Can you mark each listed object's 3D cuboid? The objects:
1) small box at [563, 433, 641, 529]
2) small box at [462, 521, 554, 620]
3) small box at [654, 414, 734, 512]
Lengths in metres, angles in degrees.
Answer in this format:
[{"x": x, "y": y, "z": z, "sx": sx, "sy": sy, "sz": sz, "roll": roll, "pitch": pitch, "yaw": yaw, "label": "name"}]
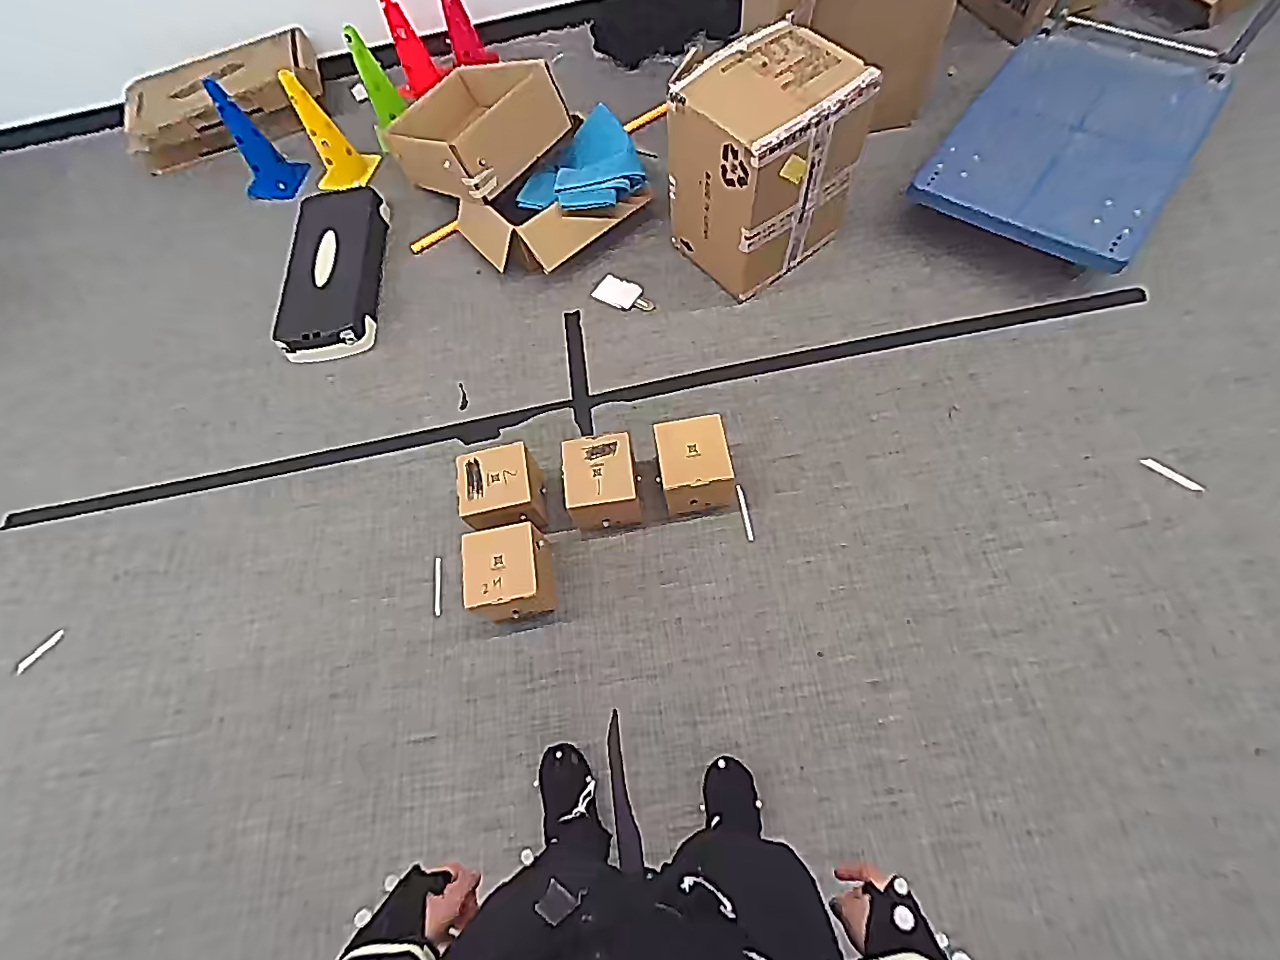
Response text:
[{"x": -0.093, "y": 0.006, "z": 1.345, "sx": 0.168, "sy": 0.176, "sz": 0.179, "roll": -8, "pitch": 67, "yaw": 3, "label": "small box"}, {"x": -0.307, "y": 0.217, "z": 1.275, "sx": 0.168, "sy": 0.176, "sz": 0.179, "roll": -11, "pitch": 66, "yaw": 2, "label": "small box"}, {"x": 0.130, "y": -0.038, "z": 1.344, "sx": 0.168, "sy": 0.176, "sz": 0.179, "roll": -10, "pitch": 66, "yaw": 1, "label": "small box"}]
